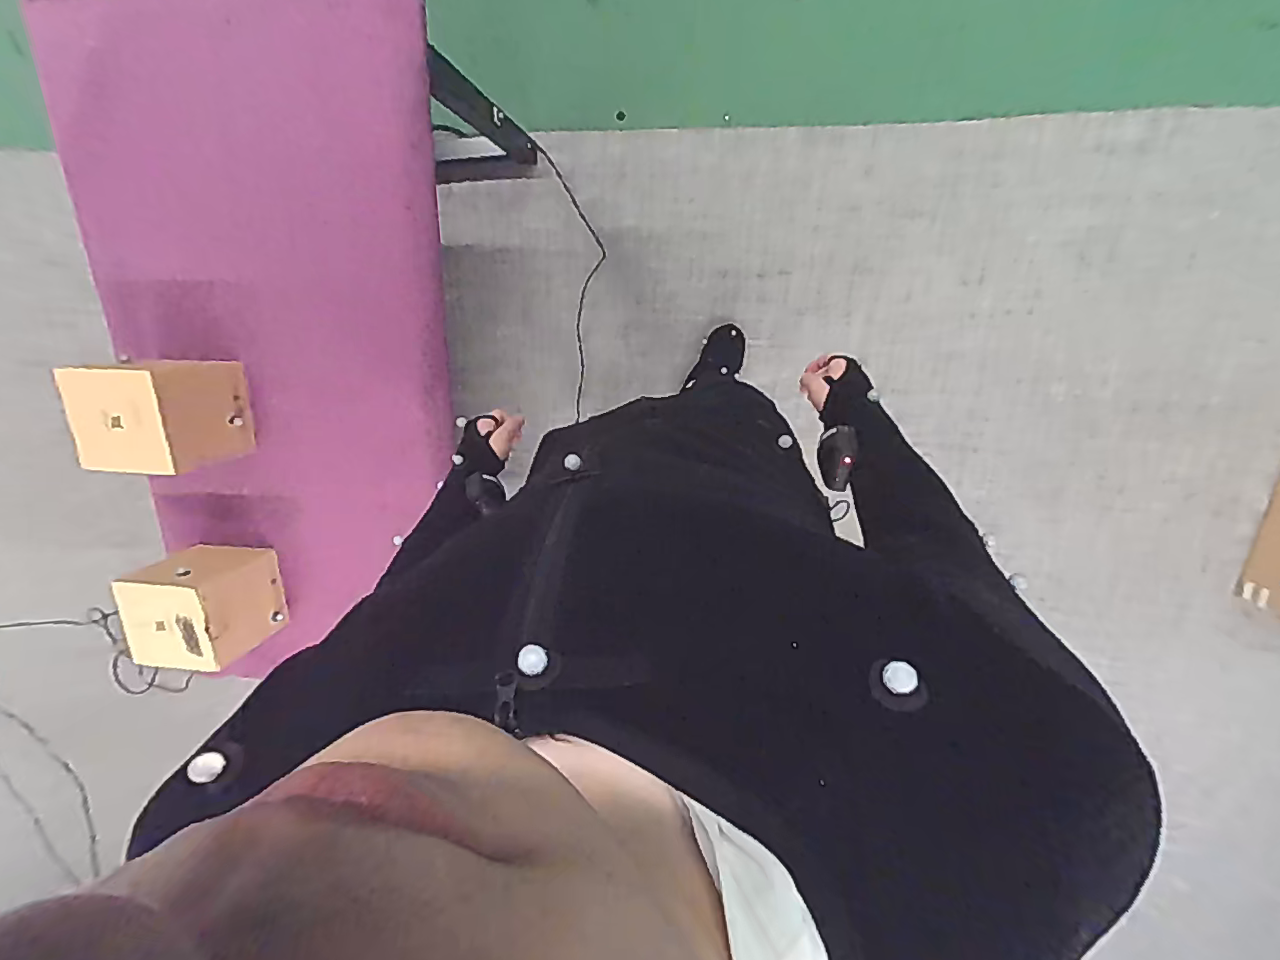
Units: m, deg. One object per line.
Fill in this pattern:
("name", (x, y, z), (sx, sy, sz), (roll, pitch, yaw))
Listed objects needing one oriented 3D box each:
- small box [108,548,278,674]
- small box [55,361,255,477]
("small box", (-0.814, 0.235, 1.010), (0.179, 0.176, 0.168), (3, 105, 9))
("small box", (-0.805, -0.111, 0.915), (0.179, 0.176, 0.168), (4, 107, 8))
